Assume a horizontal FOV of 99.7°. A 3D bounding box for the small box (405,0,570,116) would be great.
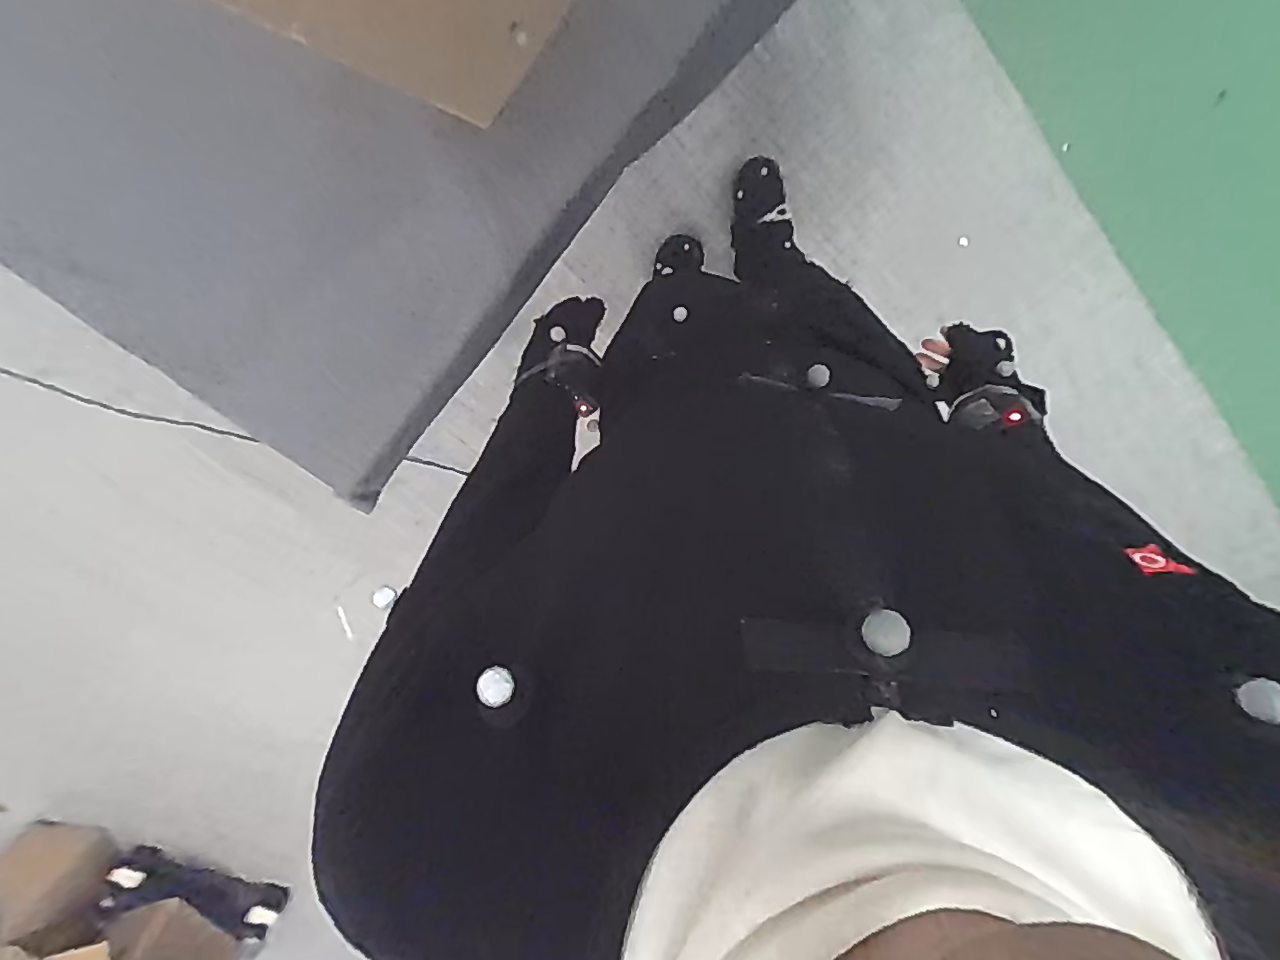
[{"bbox_3d":[-0.153,-0.425,0.414,0.168,0.176,0.179,40,112,-17],"label":"small box"}]
